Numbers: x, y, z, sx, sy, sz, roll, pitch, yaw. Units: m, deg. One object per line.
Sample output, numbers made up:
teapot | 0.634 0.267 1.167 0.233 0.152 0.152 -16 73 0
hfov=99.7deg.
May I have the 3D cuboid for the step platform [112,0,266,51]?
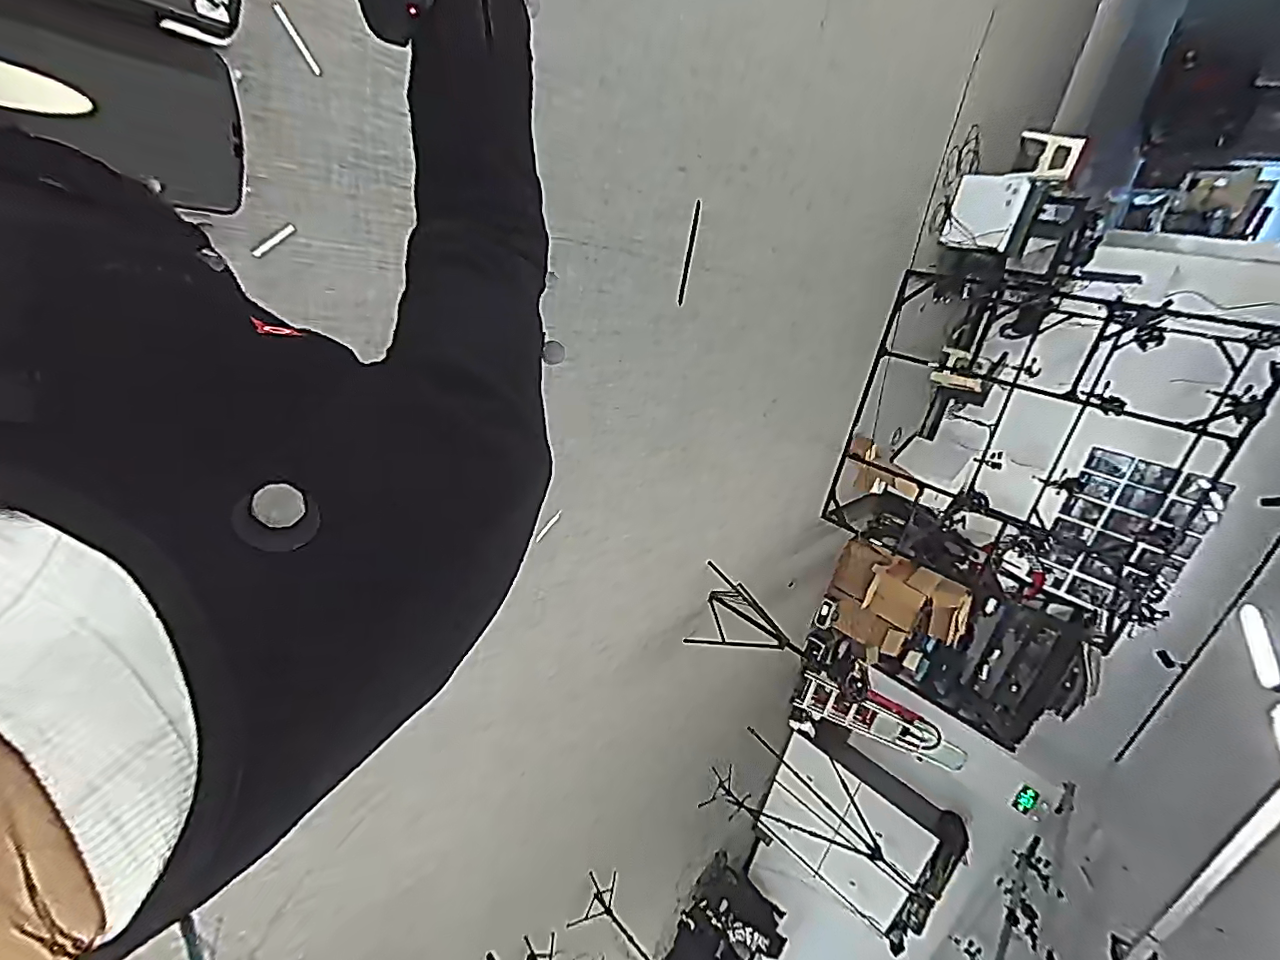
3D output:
step platform | -0.914 -0.867 0.722 0.684 0.204 0.286 -15 124 -46
